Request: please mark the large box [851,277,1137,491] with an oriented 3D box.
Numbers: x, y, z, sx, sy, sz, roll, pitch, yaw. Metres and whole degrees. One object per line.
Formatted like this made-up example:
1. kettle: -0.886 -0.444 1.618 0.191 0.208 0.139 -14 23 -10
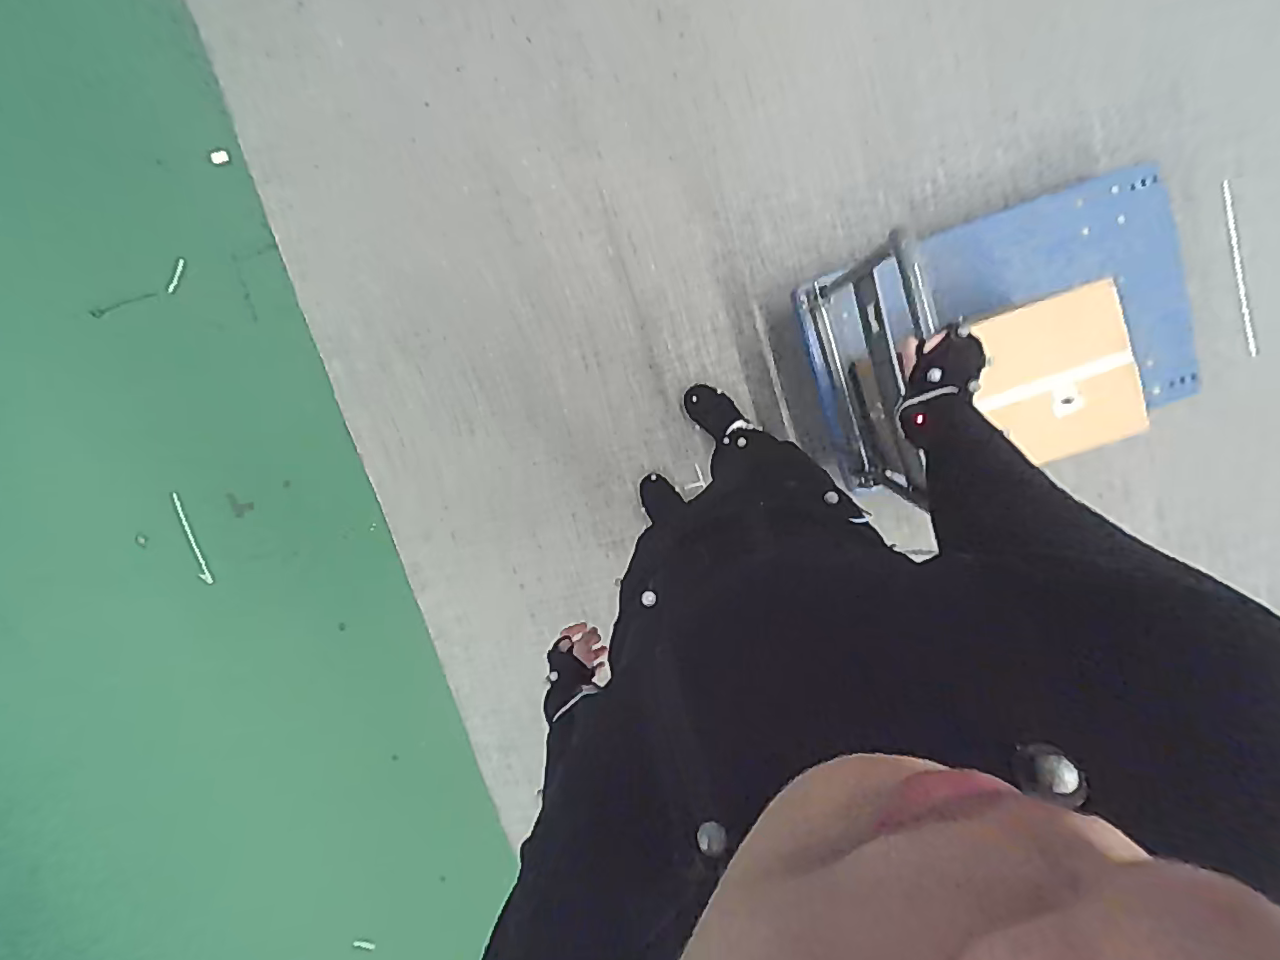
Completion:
1. large box: 0.758 -0.204 1.221 0.408 0.320 0.320 -19 98 6
